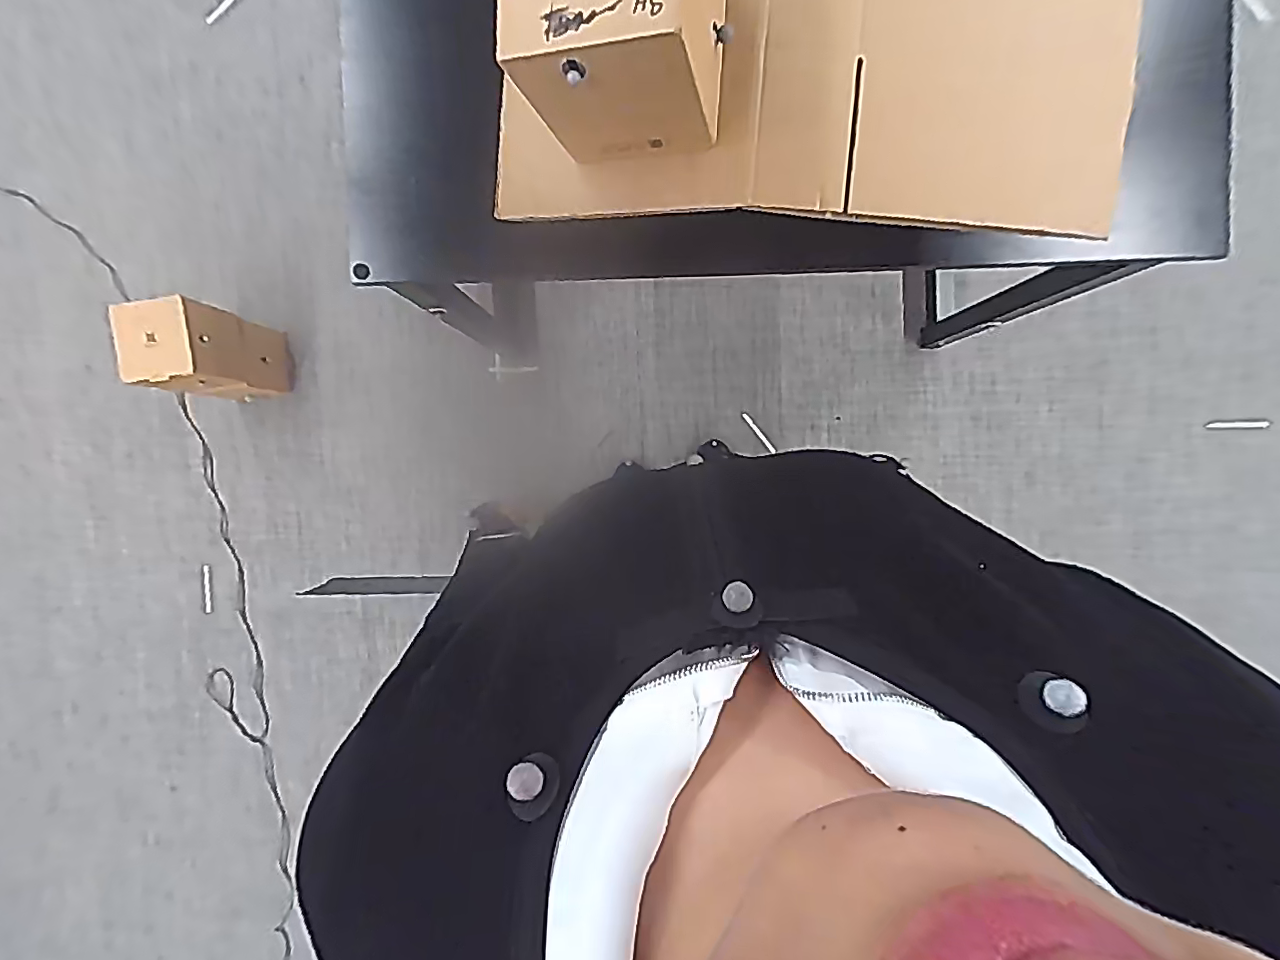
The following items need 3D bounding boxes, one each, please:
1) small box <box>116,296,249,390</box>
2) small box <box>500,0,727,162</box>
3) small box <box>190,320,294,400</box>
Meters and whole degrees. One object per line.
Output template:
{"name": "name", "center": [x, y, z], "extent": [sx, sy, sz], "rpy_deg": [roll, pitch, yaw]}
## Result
{"name": "small box", "center": [-1.065, -0.312, 1.274], "extent": [0.168, 0.176, 0.179], "rpy_deg": [-8, 91, 1]}
{"name": "small box", "center": [-0.013, -0.442, 0.517], "extent": [0.168, 0.176, 0.179], "rpy_deg": [5, 92, 17]}
{"name": "small box", "center": [-1.058, -0.314, 1.437], "extent": [0.168, 0.176, 0.179], "rpy_deg": [-5, 93, 2]}
